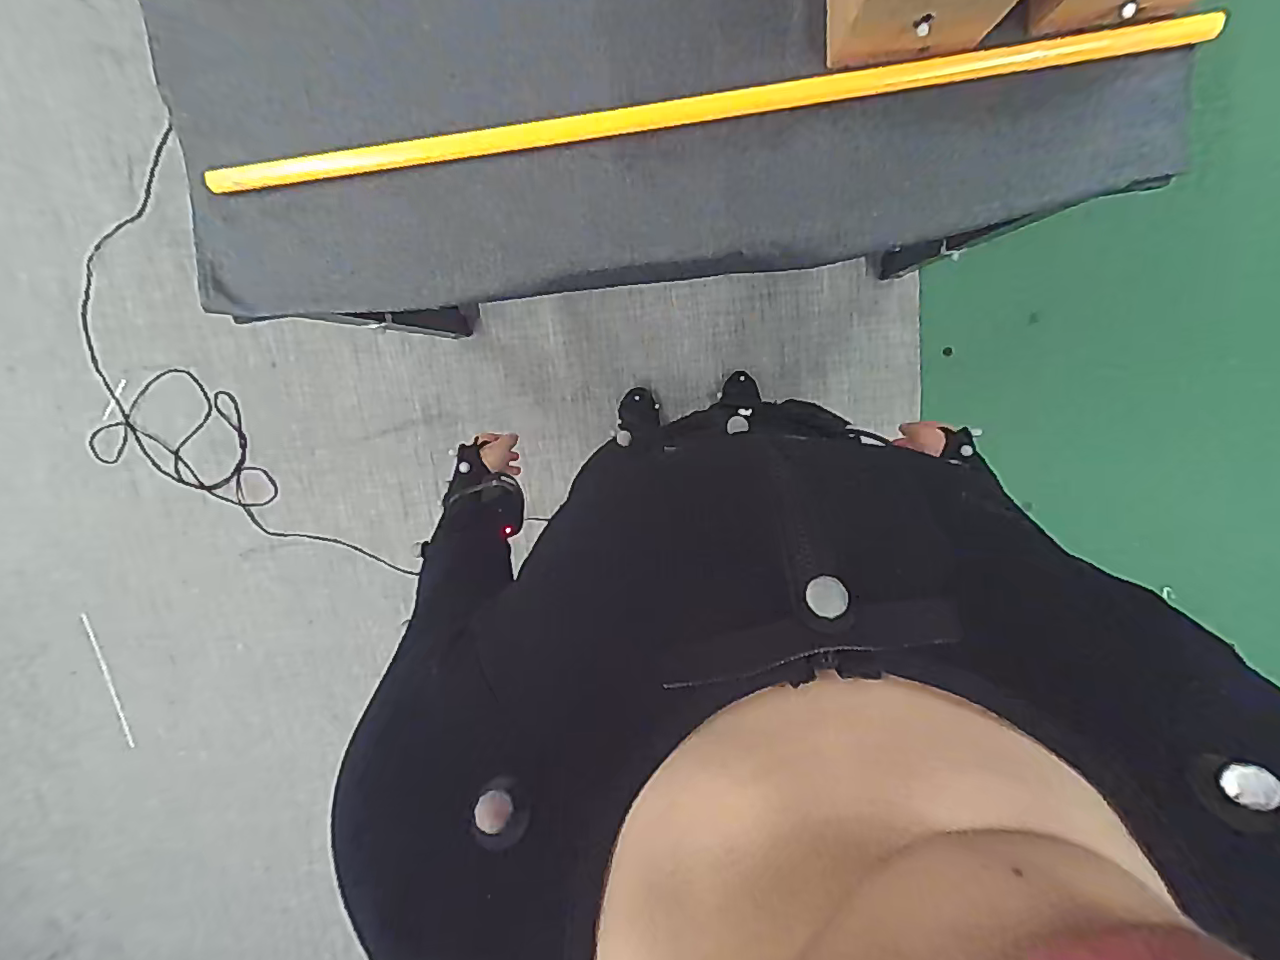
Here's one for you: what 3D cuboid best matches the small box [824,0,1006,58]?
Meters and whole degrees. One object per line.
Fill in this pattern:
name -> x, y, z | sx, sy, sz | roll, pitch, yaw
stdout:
small box -> 0.289, -0.560, 0.540 | 0.168, 0.176, 0.179 | -4, 101, 3
